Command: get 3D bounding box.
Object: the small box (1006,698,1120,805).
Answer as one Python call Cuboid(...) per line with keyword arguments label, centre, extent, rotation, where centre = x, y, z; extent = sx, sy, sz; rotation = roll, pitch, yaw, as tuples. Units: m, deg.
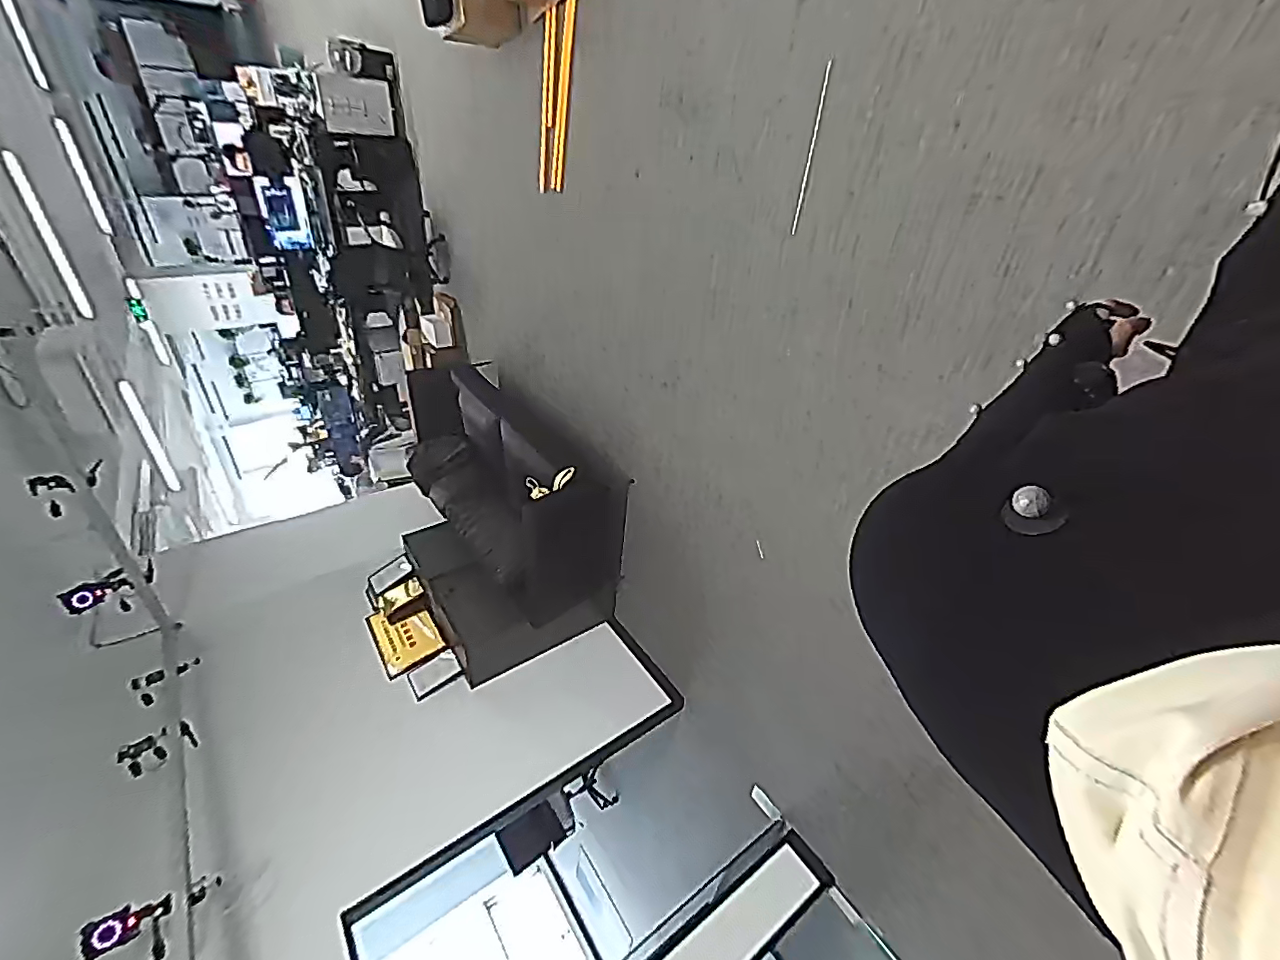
Cuboid(label="small box", centre=(1.161, 0.735, 1.481), extent=(0.168, 0.176, 0.179), rotation=(43, 140, 37))
